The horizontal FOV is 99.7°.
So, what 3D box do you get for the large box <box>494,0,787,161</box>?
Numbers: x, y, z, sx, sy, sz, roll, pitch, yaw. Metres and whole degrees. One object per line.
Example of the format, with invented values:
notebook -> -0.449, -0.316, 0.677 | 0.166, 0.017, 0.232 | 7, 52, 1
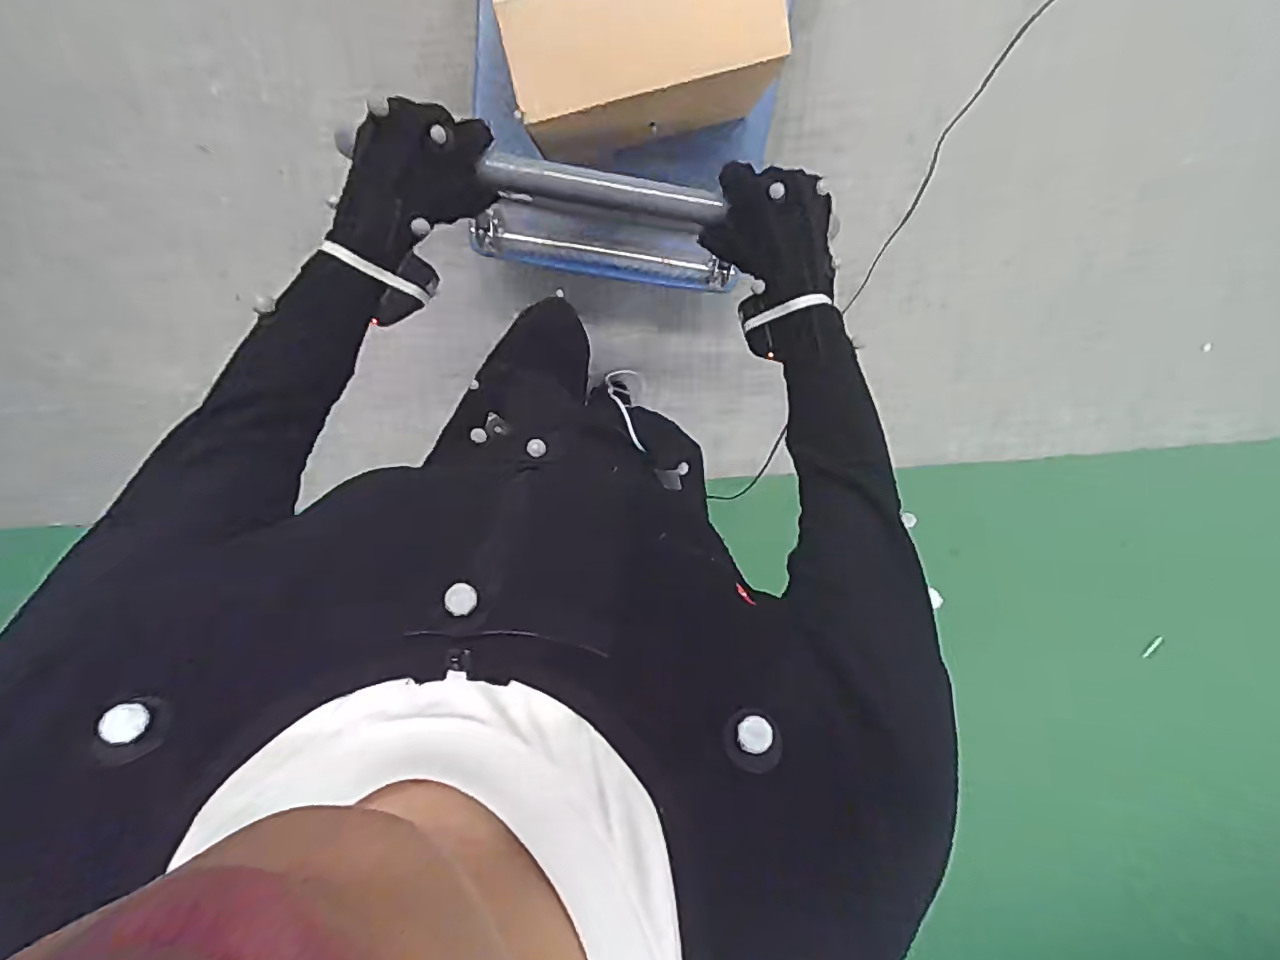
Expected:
large box -> -0.012, -0.769, 0.888 | 0.408, 0.320, 0.320 | -13, 109, 4
